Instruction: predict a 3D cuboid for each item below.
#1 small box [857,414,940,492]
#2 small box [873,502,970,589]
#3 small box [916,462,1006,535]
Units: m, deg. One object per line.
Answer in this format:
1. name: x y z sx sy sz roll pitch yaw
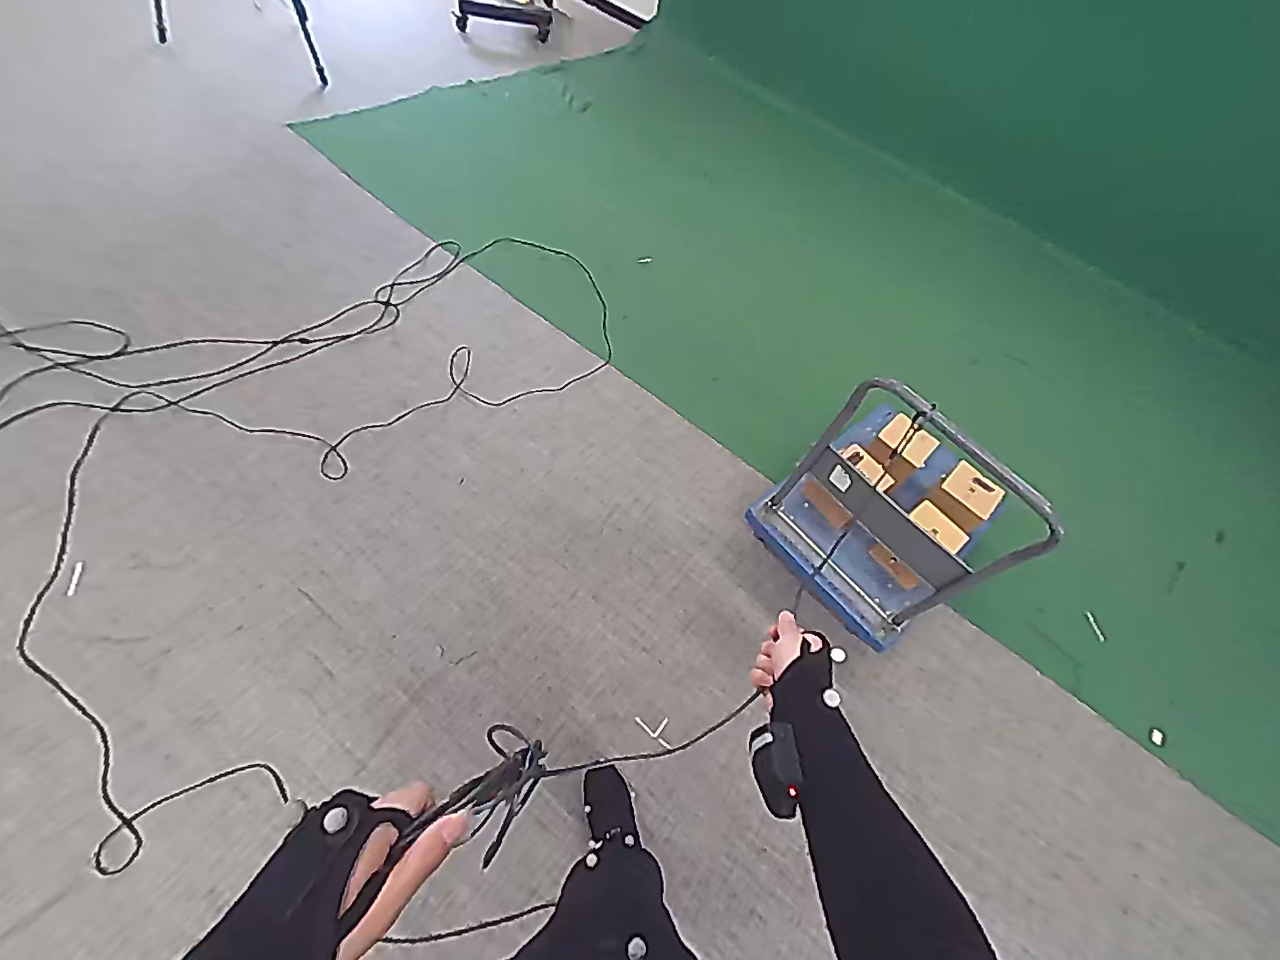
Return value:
1. small box: 0.887 -0.088 1.875 0.179 0.176 0.168 -36 72 -31
2. small box: 0.863 0.205 1.674 0.179 0.176 0.168 -31 68 -29
3. small box: 1.063 0.077 1.805 0.179 0.176 0.168 -37 70 -29
